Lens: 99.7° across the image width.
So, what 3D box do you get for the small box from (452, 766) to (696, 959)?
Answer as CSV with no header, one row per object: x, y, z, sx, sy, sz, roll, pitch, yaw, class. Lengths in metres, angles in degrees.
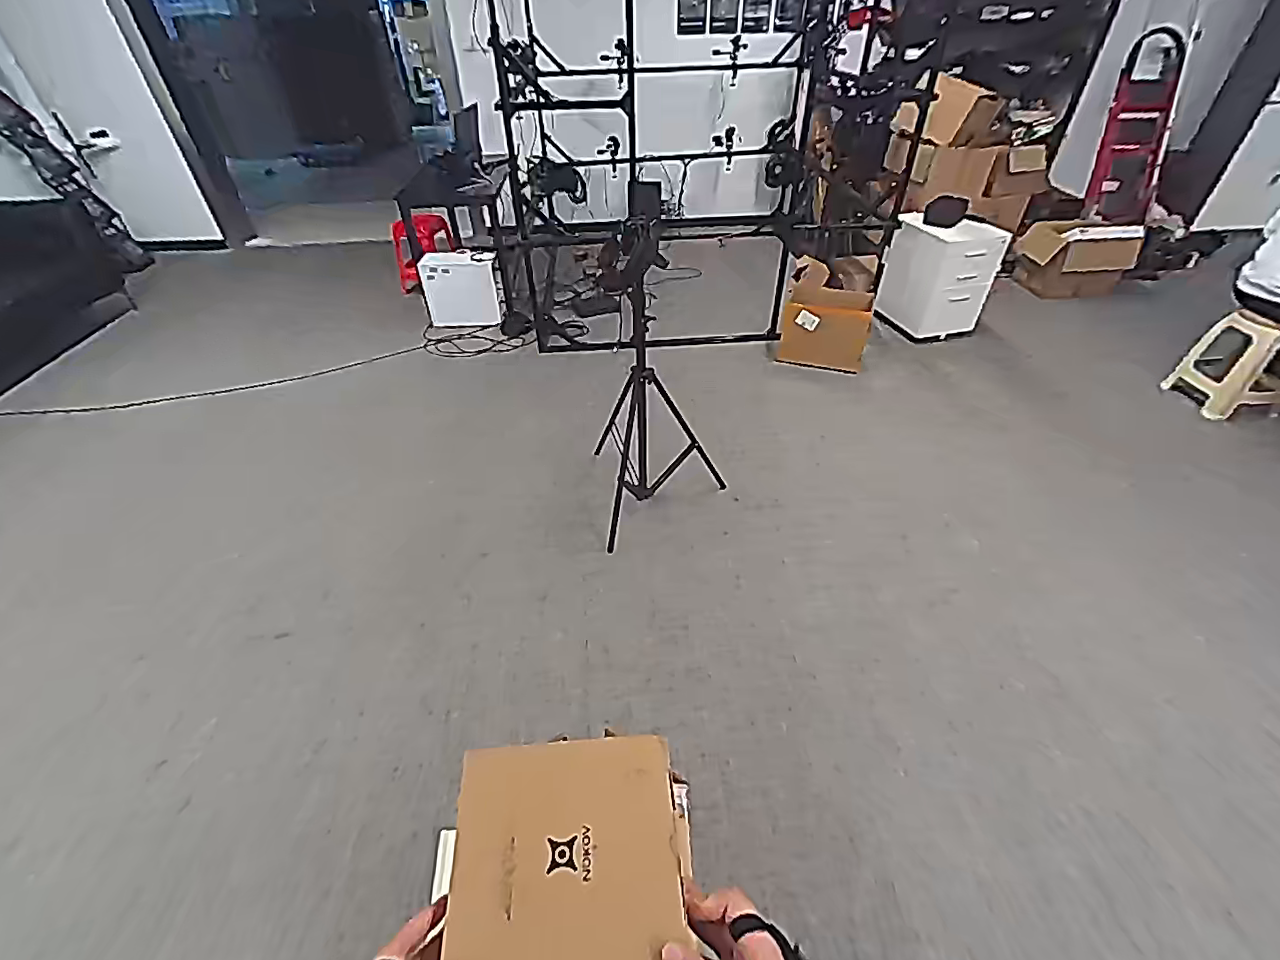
-0.052,0.368,0.471,0.179,0.176,0.168,-4,46,-4,small box
